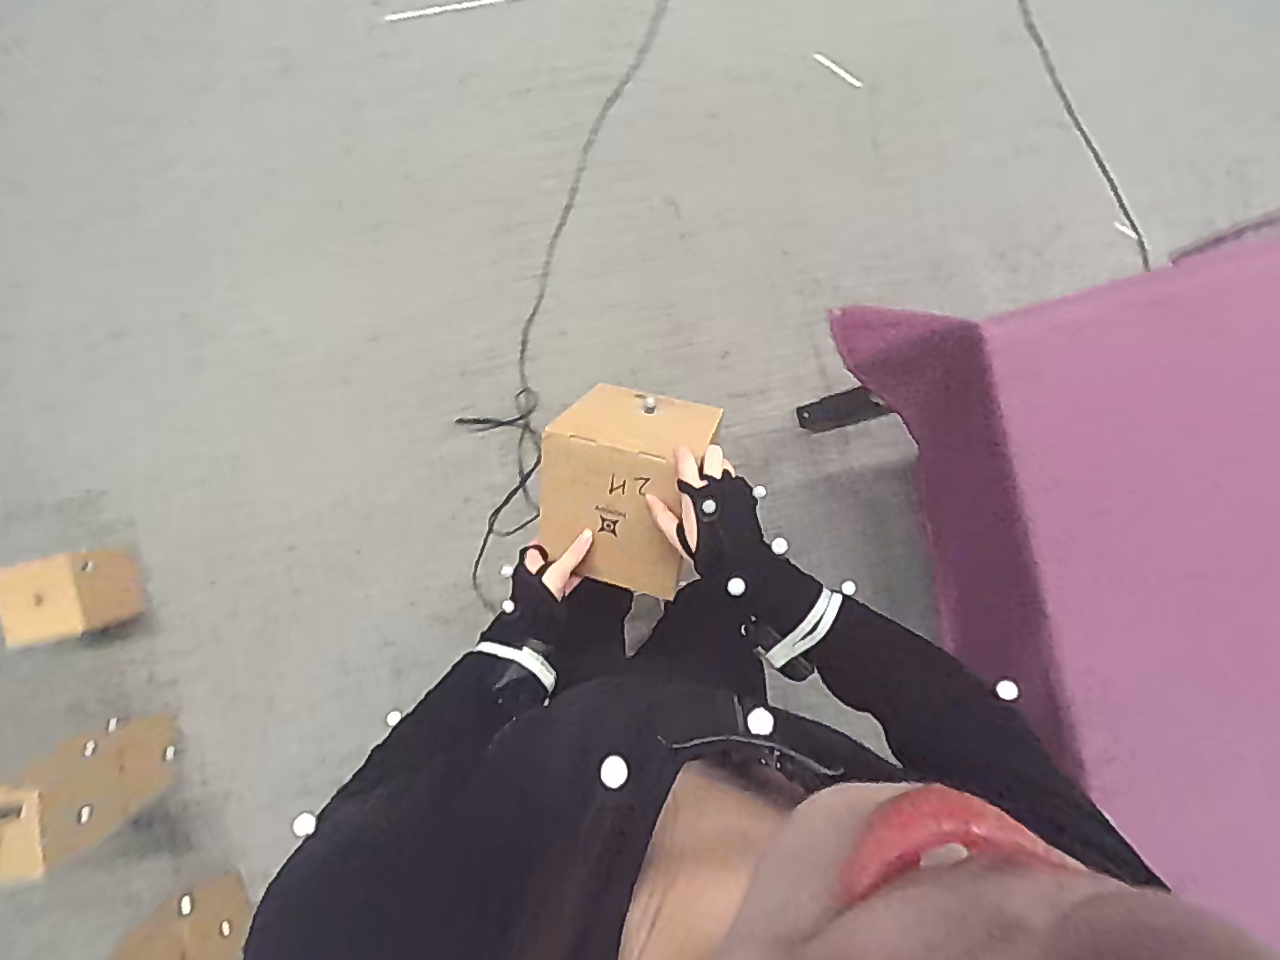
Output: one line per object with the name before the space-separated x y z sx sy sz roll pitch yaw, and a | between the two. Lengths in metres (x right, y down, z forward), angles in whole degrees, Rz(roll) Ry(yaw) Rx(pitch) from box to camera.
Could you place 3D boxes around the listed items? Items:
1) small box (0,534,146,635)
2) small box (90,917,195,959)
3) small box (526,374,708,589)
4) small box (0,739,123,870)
small box | -1.294 0.233 1.241 0.168 0.176 0.179 -12 91 -3
small box | -1.057 1.055 1.106 0.179 0.176 0.168 -21 92 -1
small box | -0.022 -0.007 0.642 0.168 0.176 0.179 13 121 11
small box | -1.202 0.641 1.088 0.168 0.176 0.179 -3 93 -3
